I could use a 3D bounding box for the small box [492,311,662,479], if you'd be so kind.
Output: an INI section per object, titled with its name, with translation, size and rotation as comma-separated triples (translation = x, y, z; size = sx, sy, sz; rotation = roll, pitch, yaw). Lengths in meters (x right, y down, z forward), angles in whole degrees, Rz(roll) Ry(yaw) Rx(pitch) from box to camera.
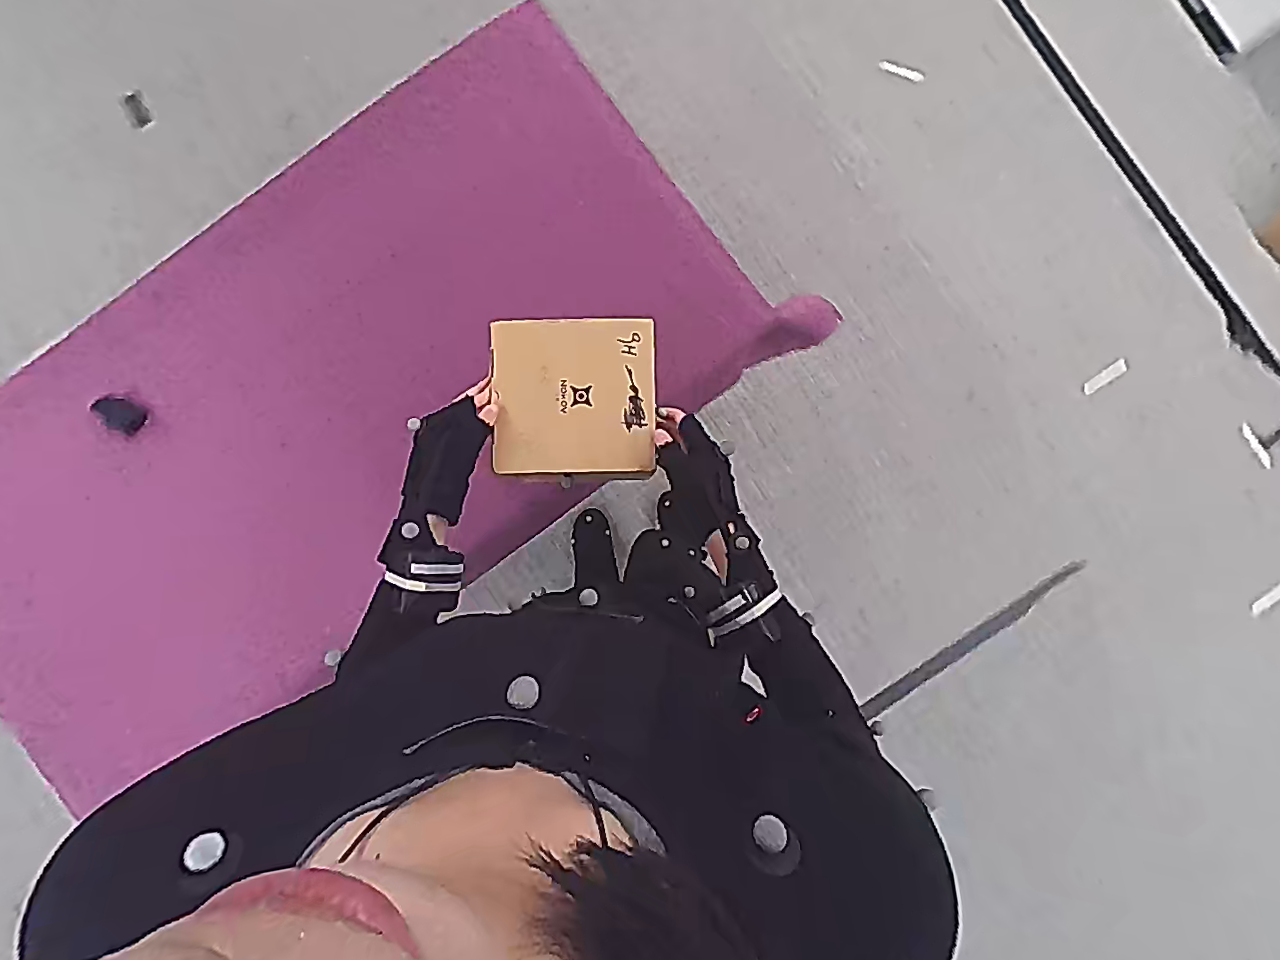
[small box]
translation = -0.064, -0.089, 0.643
size = 0.179, 0.176, 0.168
rotation = 1, 86, 1
